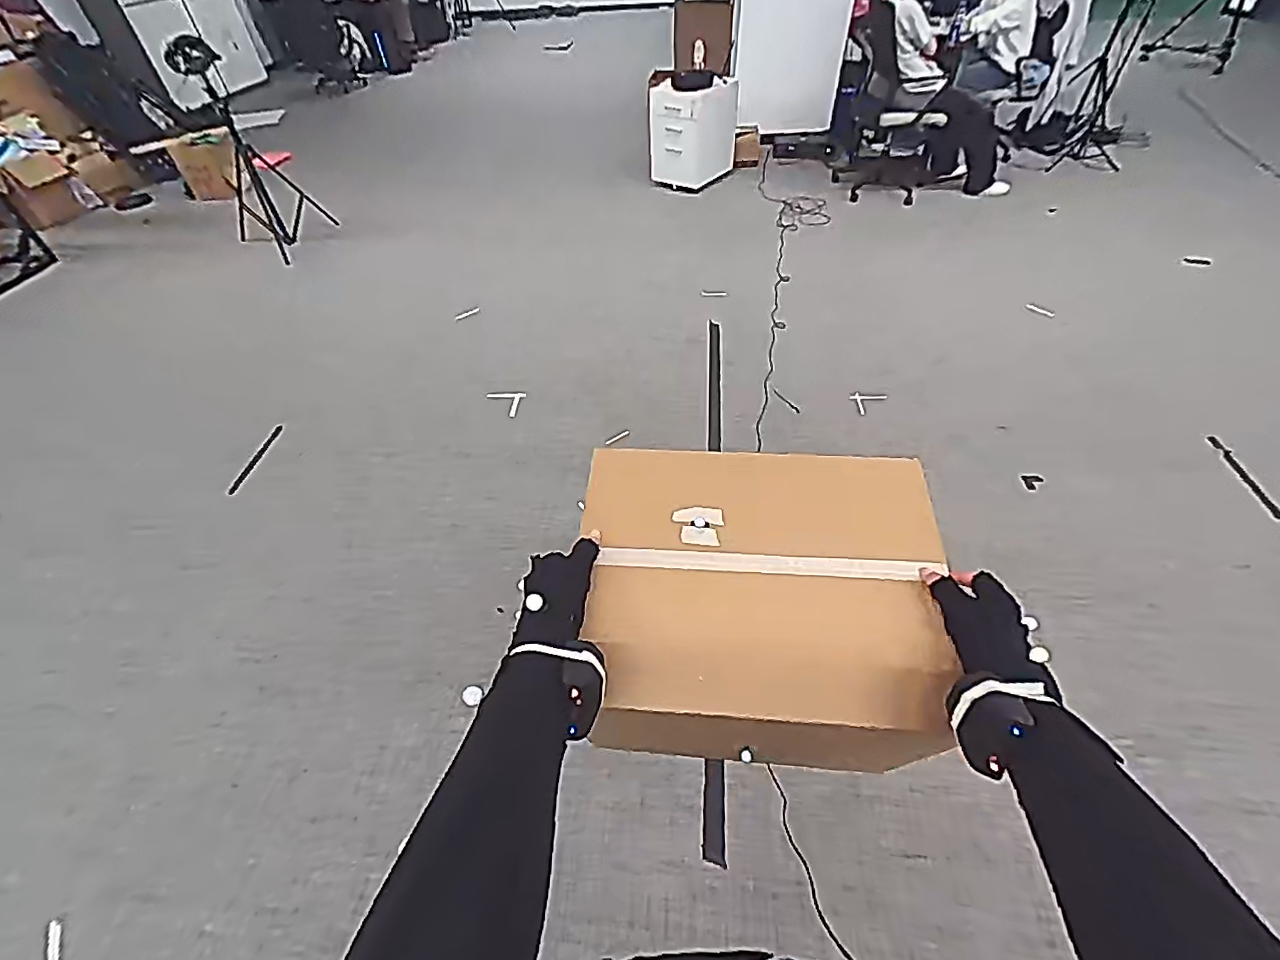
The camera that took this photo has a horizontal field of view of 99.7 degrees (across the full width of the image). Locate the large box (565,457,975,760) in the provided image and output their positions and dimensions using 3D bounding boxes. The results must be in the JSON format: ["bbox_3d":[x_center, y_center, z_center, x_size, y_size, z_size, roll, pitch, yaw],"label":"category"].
[{"bbox_3d":[0.142,0.182,0.731,0.408,0.320,0.320,2,56,6],"label":"large box"}]
